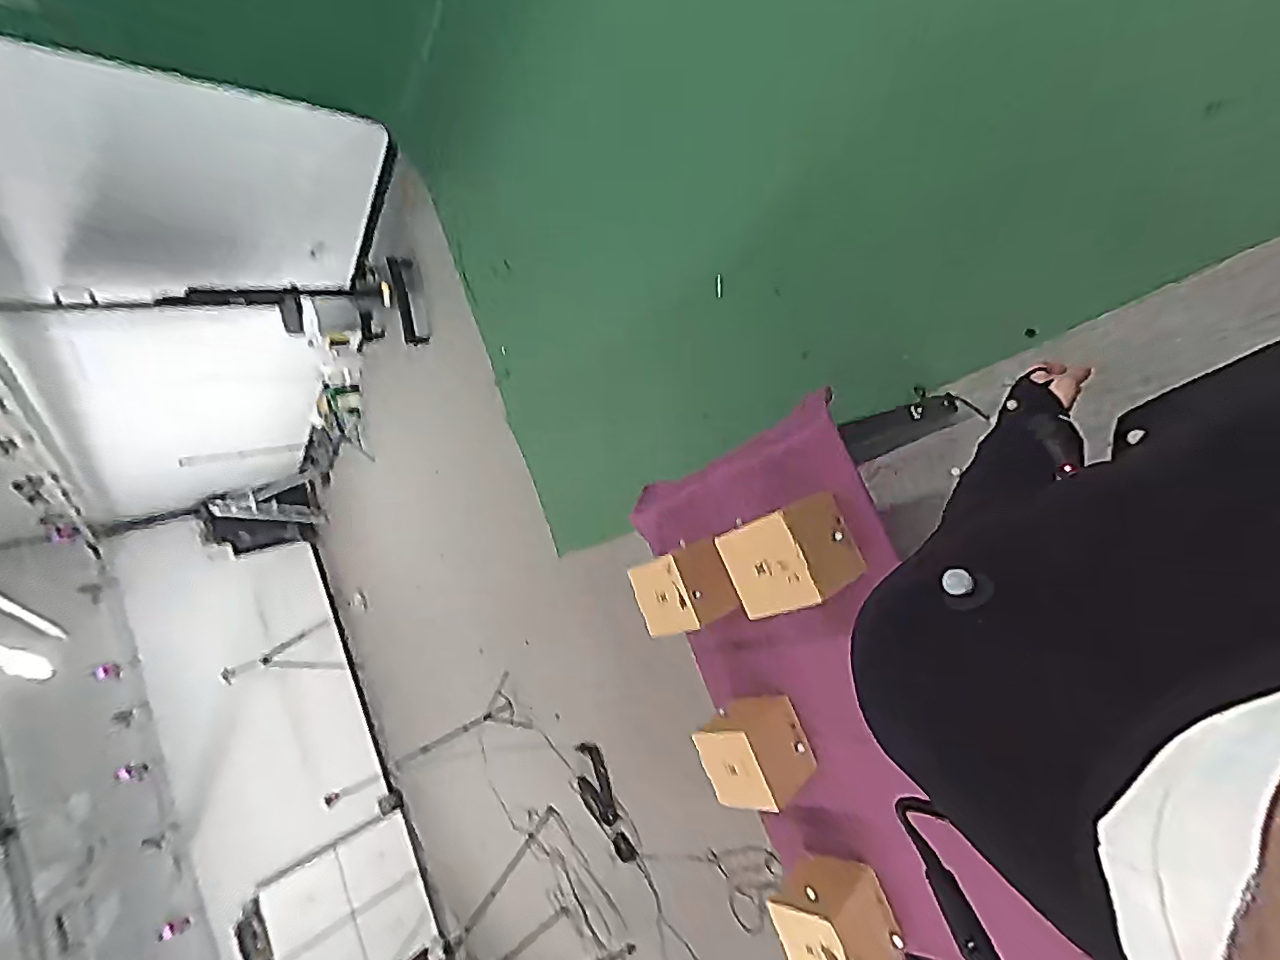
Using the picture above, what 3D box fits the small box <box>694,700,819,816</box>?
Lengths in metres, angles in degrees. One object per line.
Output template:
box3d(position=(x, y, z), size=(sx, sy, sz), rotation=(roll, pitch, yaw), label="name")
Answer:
box3d(position=(0.259, 0.606, 1.197), size=(0.179, 0.176, 0.168), rotation=(-33, 77, 48), label="small box")

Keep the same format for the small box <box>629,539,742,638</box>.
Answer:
box3d(position=(0.110, 0.251, 1.254), size=(0.179, 0.176, 0.168), rotation=(-31, 79, 49), label="small box")

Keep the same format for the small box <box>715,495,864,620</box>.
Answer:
box3d(position=(0.282, 0.144, 1.019), size=(0.179, 0.176, 0.168), rotation=(-34, 77, 48), label="small box")

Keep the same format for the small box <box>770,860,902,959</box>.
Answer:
box3d(position=(0.412, 0.929, 1.120), size=(0.179, 0.176, 0.168), rotation=(-34, 76, 49), label="small box")
